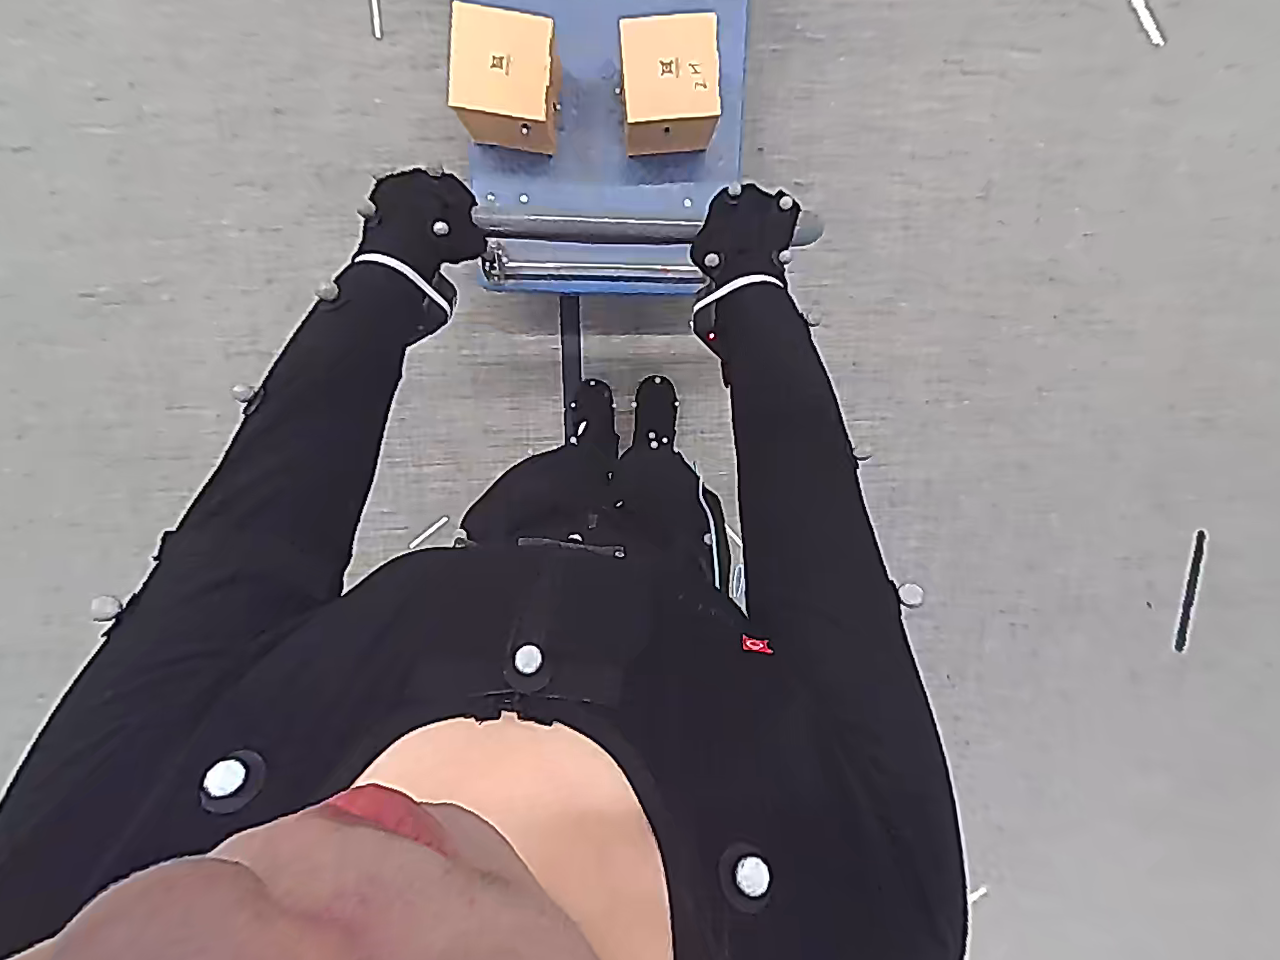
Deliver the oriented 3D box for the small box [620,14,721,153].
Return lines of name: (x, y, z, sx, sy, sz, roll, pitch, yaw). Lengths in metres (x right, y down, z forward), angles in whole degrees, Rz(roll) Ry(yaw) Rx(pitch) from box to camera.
small box: (0.056, -0.759, 1.054, 0.179, 0.176, 0.168, -5, 104, -1)

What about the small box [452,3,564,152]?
small box: (-0.248, -0.760, 1.042, 0.179, 0.176, 0.168, 6, 103, -5)
